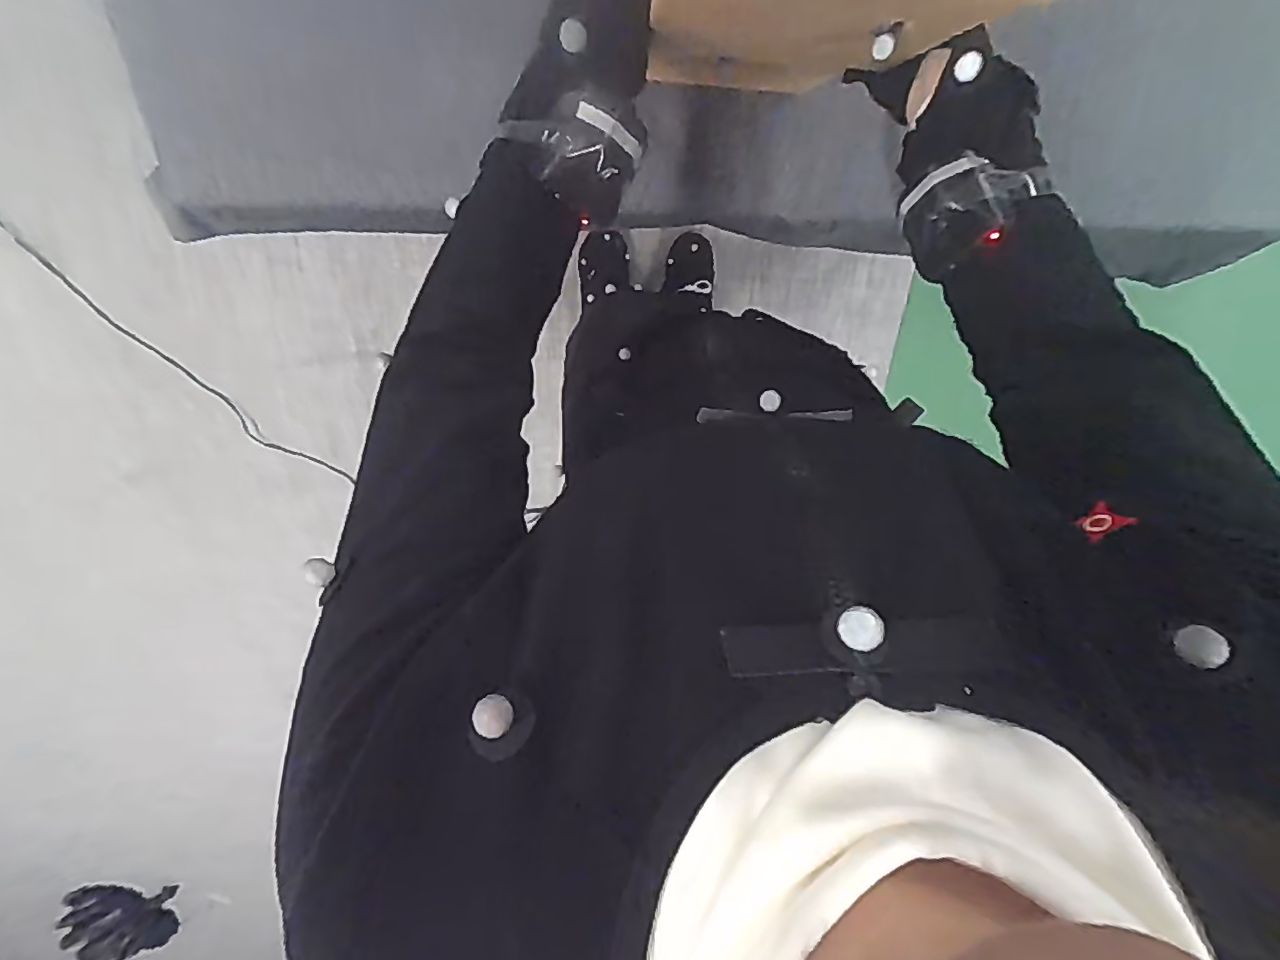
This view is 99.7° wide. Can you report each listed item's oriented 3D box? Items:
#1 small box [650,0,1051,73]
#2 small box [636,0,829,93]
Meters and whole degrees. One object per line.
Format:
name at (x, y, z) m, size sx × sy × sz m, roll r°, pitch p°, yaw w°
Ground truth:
small box at (0.103, -0.322, 0.266) m, size 0.179 × 0.176 × 0.168 m, roll -4°, pitch 116°, yaw -5°
small box at (0.088, -0.418, 0.419) m, size 0.179 × 0.176 × 0.168 m, roll -3°, pitch 114°, yaw -5°
